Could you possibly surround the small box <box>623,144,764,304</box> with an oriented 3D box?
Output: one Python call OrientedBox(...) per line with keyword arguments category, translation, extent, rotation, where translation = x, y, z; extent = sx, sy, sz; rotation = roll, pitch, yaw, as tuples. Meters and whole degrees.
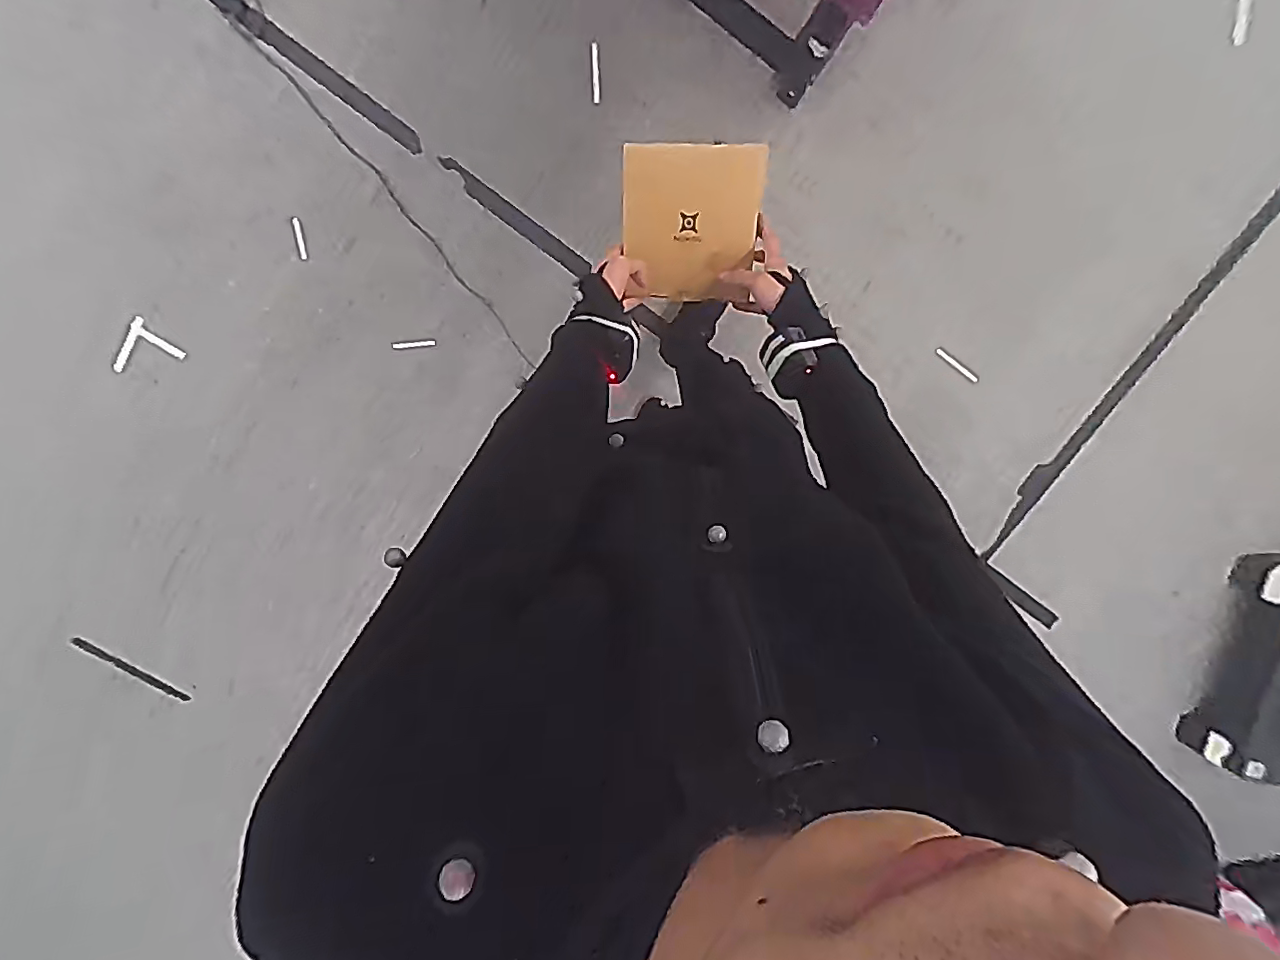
OrientedBox(category="small box", translation=(0.073, -0.350, 0.729), extent=(0.168, 0.176, 0.179), rotation=(6, 124, 10))
